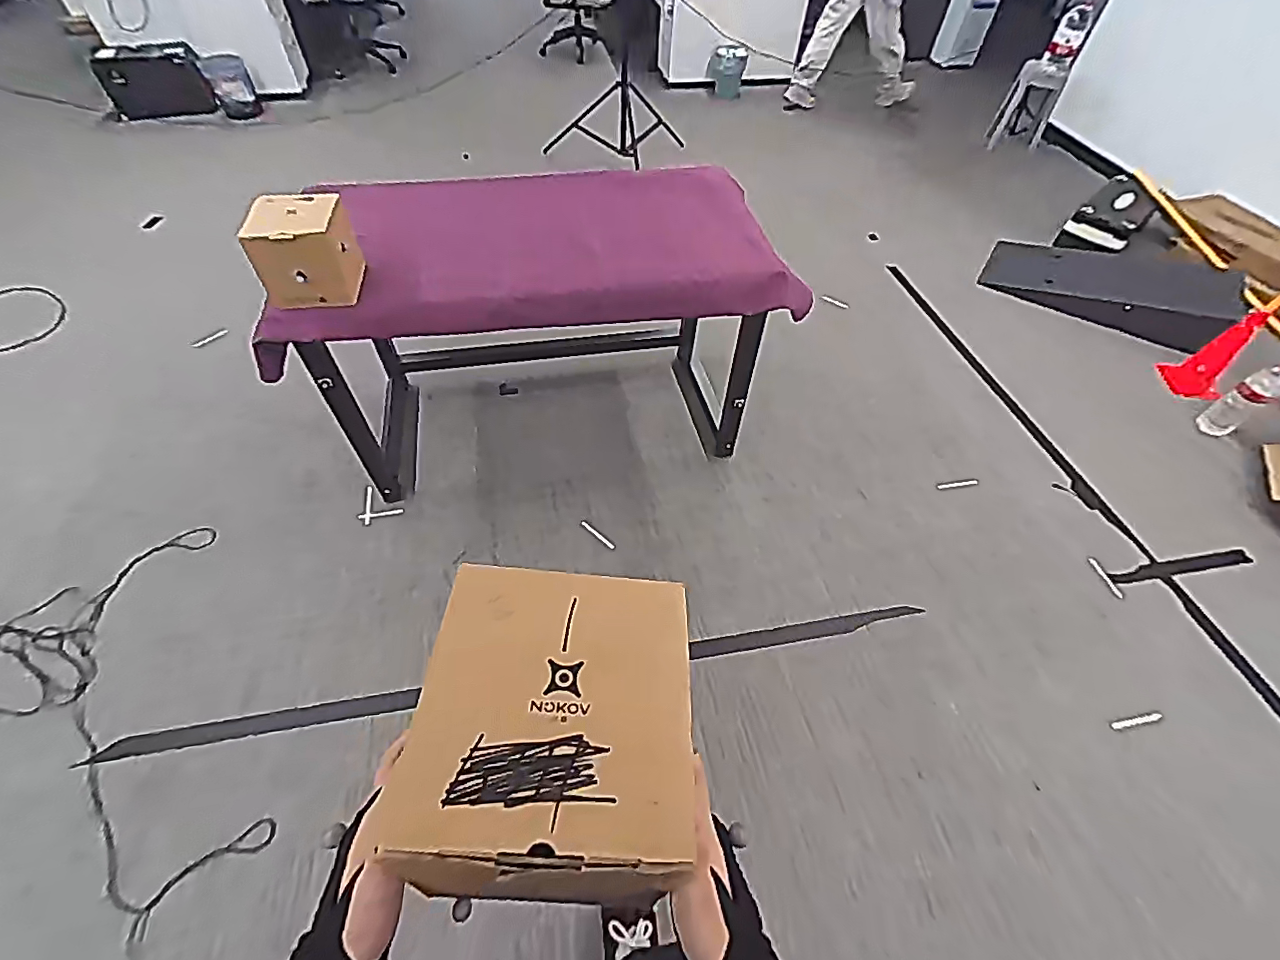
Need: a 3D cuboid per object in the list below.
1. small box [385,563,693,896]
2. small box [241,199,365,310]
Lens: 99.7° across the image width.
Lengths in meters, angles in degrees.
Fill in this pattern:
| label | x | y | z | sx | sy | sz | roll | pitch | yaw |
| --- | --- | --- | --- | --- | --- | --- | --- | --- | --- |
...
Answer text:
| label | x | y | z | sx | sy | sz | roll | pitch | yaw |
| --- | --- | --- | --- | --- | --- | --- | --- | --- | --- |
| small box | -0.059 | 0.186 | 0.397 | 0.168 | 0.176 | 0.179 | 6 | 45 | -5 |
| small box | -0.722 | -0.487 | 1.184 | 0.168 | 0.176 | 0.179 | -6 | 53 | -8 |
